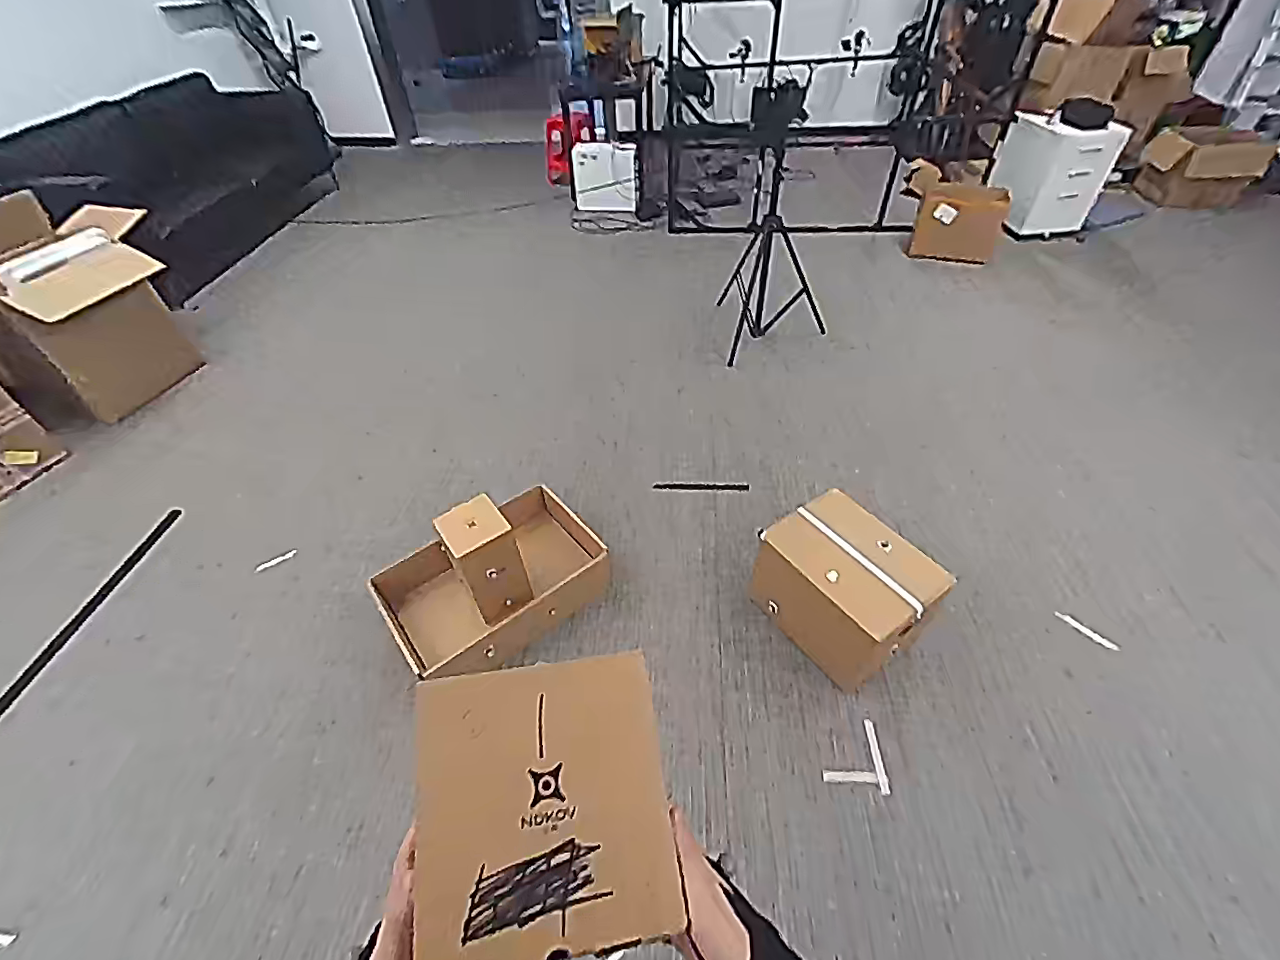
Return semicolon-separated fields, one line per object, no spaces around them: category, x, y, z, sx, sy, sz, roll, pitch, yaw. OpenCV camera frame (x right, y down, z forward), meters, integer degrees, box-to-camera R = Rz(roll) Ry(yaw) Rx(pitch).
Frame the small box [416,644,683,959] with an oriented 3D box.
small box;-0.076;0.244;0.434;0.168;0.176;0.179;-4;64;-14

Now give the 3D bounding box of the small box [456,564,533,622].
small box;-0.449;0.297;1.651;0.168;0.176;0.179;-29;51;-23

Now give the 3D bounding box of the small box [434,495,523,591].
small box;-0.456;0.181;1.537;0.168;0.176;0.179;-31;52;-23
